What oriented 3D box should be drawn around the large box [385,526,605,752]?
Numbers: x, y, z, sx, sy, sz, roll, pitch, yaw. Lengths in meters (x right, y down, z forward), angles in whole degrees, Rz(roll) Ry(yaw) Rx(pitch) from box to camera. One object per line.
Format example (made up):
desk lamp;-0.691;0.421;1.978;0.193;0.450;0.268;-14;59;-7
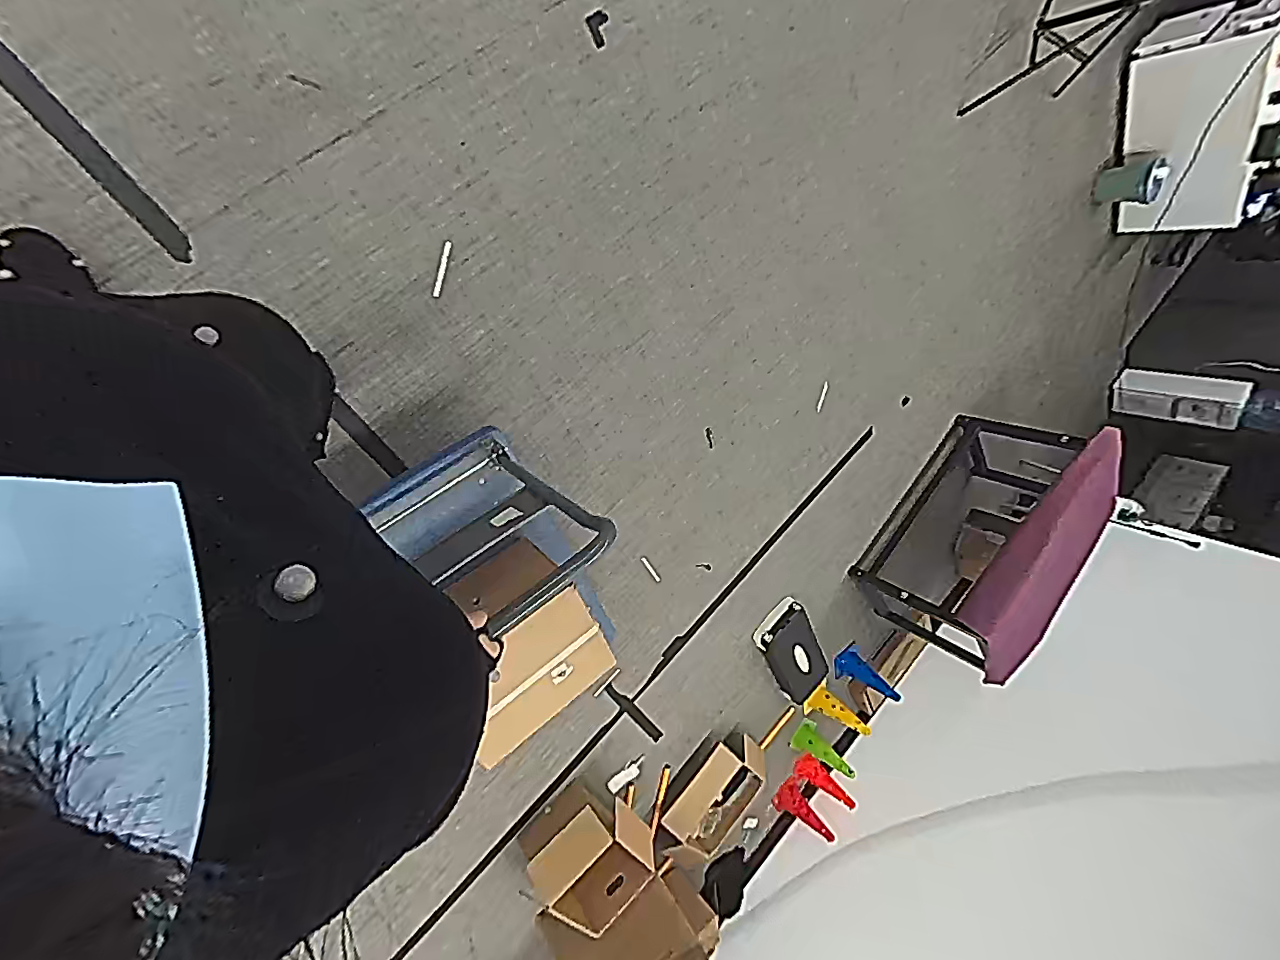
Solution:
large box;-0.373;0.393;1.415;0.408;0.320;0.320;-36;126;-21
